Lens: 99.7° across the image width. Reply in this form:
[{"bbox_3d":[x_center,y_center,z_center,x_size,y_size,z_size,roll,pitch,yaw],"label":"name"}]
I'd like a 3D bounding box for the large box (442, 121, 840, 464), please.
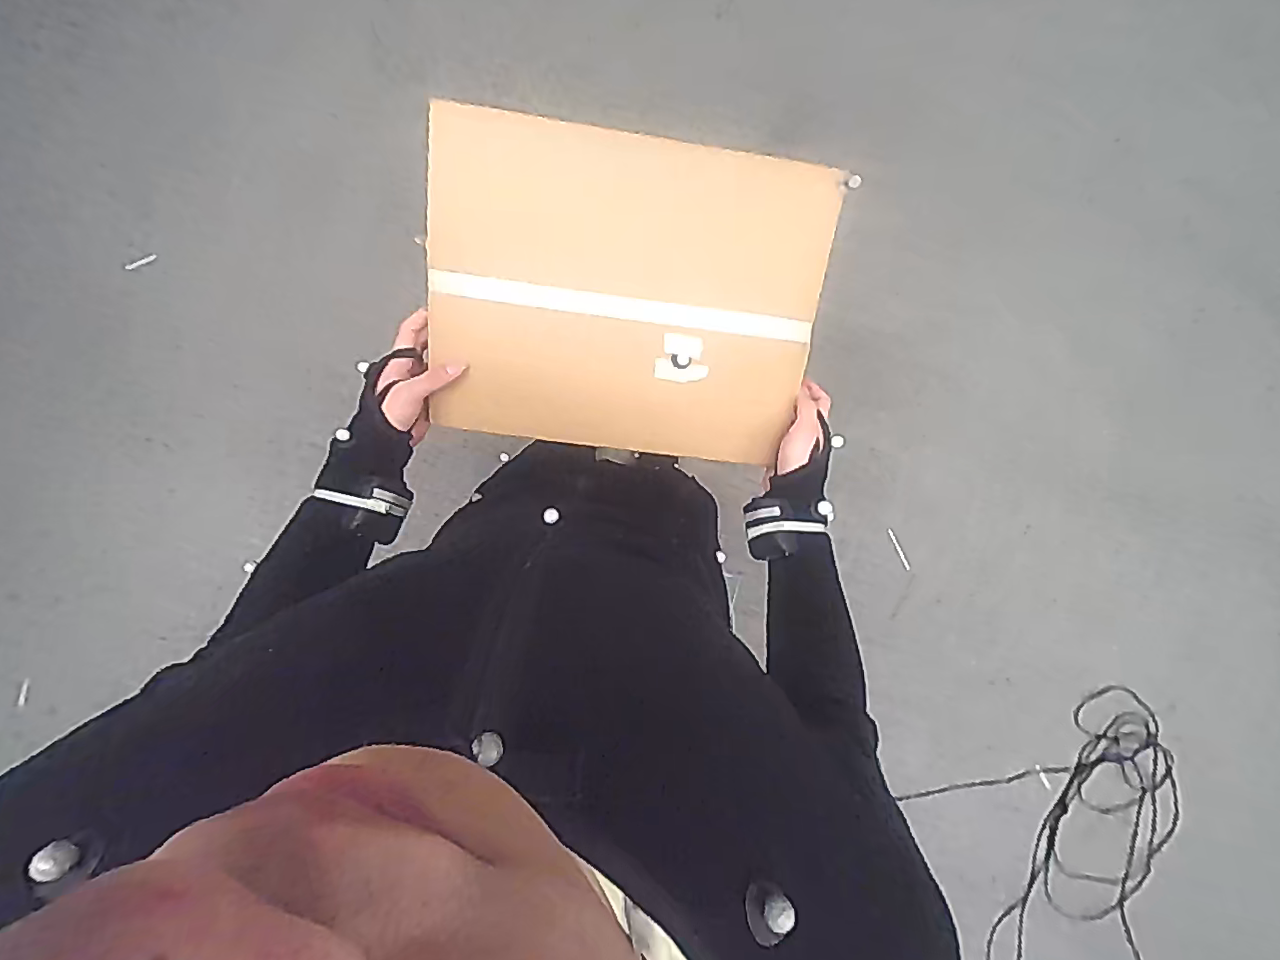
[{"bbox_3d":[-0.019,-0.229,0.719,0.408,0.320,0.320,6,110,-6],"label":"large box"}]
